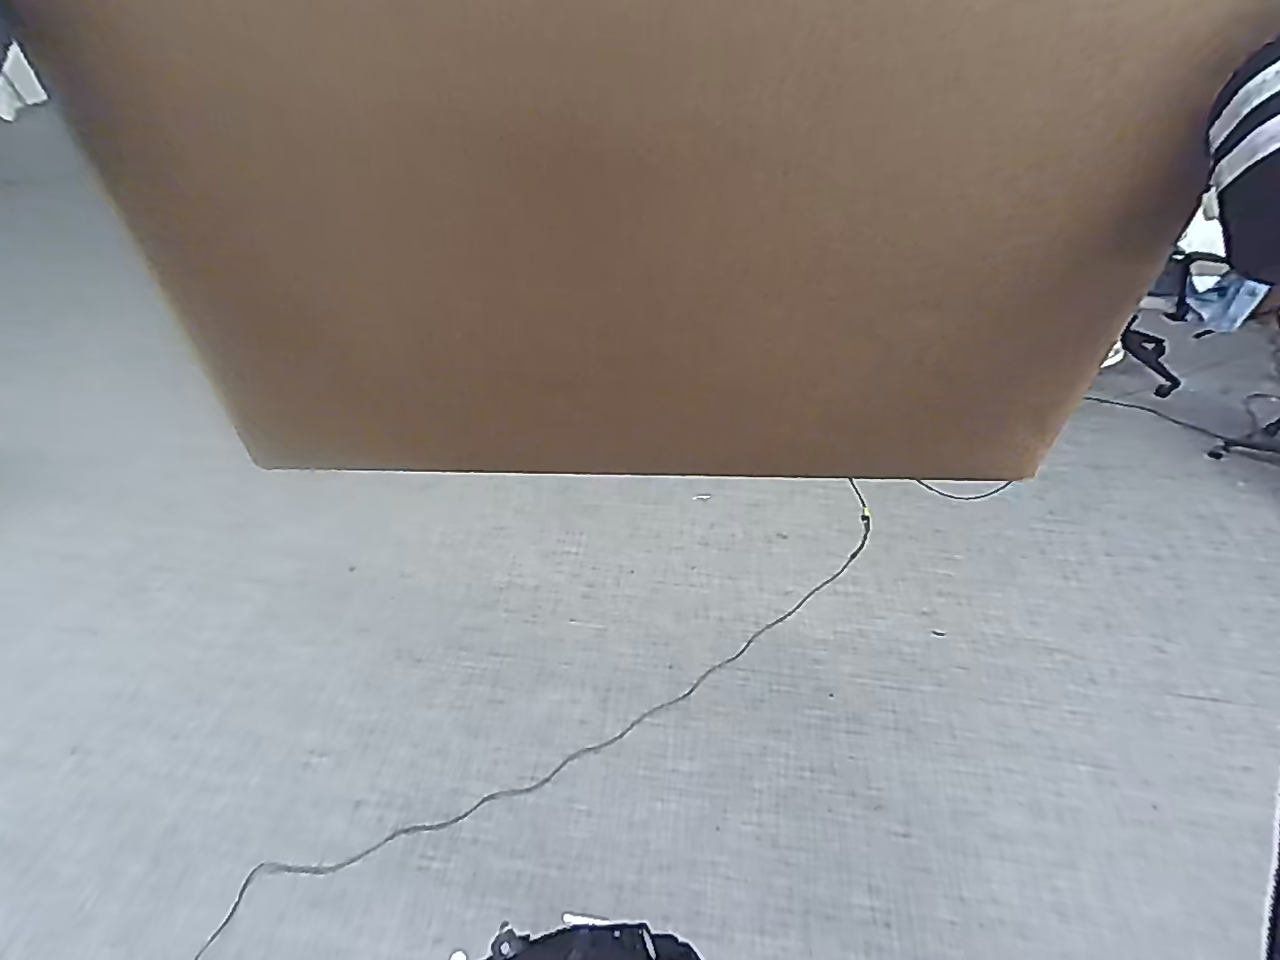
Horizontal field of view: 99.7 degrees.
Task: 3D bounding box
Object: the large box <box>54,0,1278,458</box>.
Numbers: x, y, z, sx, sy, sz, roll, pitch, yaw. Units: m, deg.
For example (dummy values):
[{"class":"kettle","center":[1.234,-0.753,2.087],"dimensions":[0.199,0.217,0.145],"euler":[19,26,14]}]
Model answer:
[{"class":"large box","center":[0.007,-0.222,0.306],"dimensions":[0.408,0.320,0.320],"euler":[2,40,-1]}]
